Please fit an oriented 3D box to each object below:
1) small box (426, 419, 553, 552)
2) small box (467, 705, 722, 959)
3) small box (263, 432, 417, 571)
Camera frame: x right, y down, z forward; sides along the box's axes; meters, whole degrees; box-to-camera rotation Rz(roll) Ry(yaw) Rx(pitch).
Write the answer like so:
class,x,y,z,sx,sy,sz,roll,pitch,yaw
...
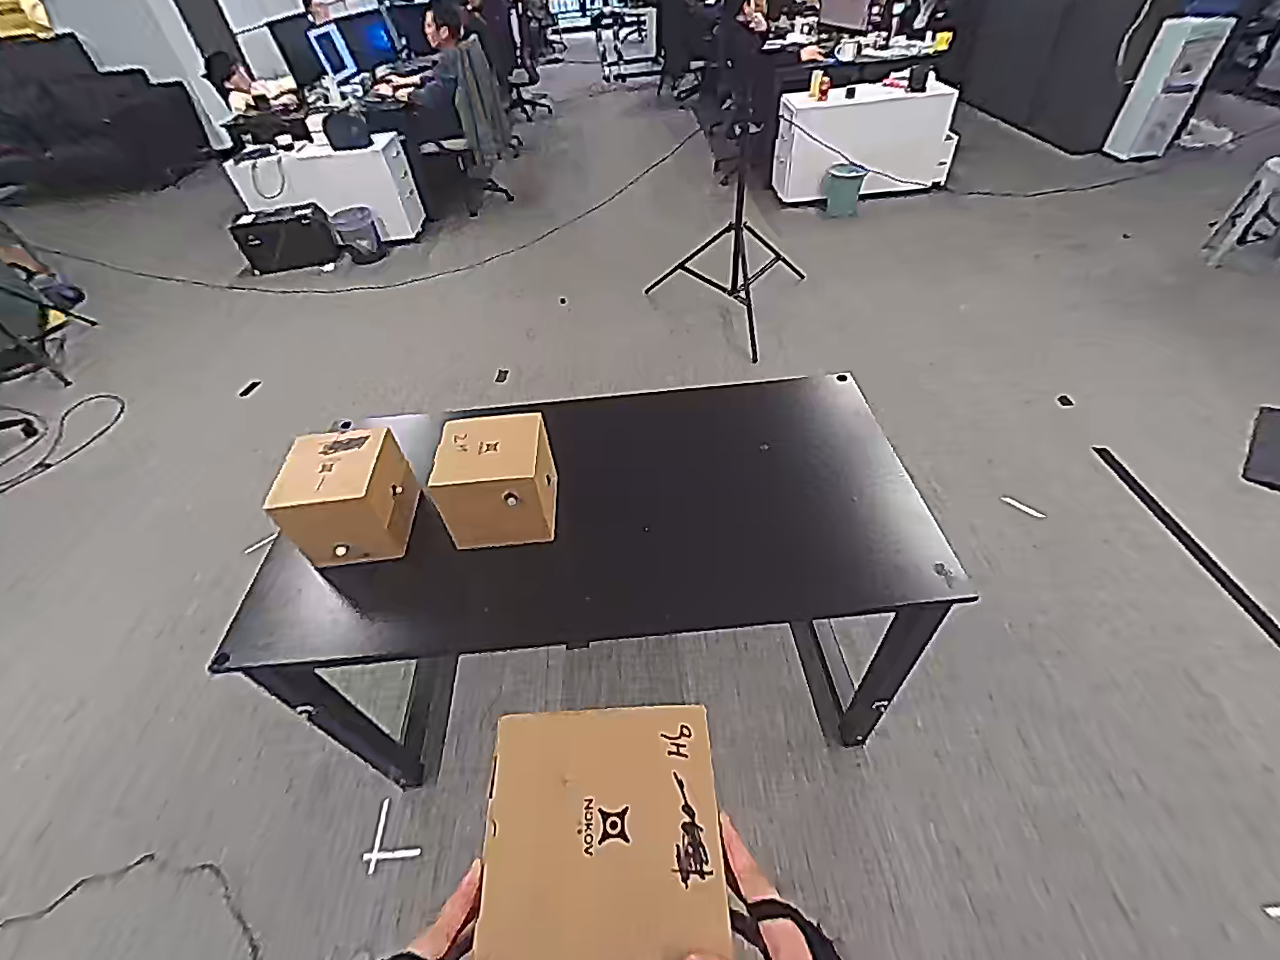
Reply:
class,x,y,z,sx,sy,sz,roll,pitch,yaw
small box,-0.256,0.011,0.974,0.179,0.176,0.168,-6,45,0
small box,-0.028,0.310,0.472,0.179,0.176,0.168,-3,51,1
small box,-0.522,0.039,0.974,0.168,0.176,0.179,-7,47,-1
